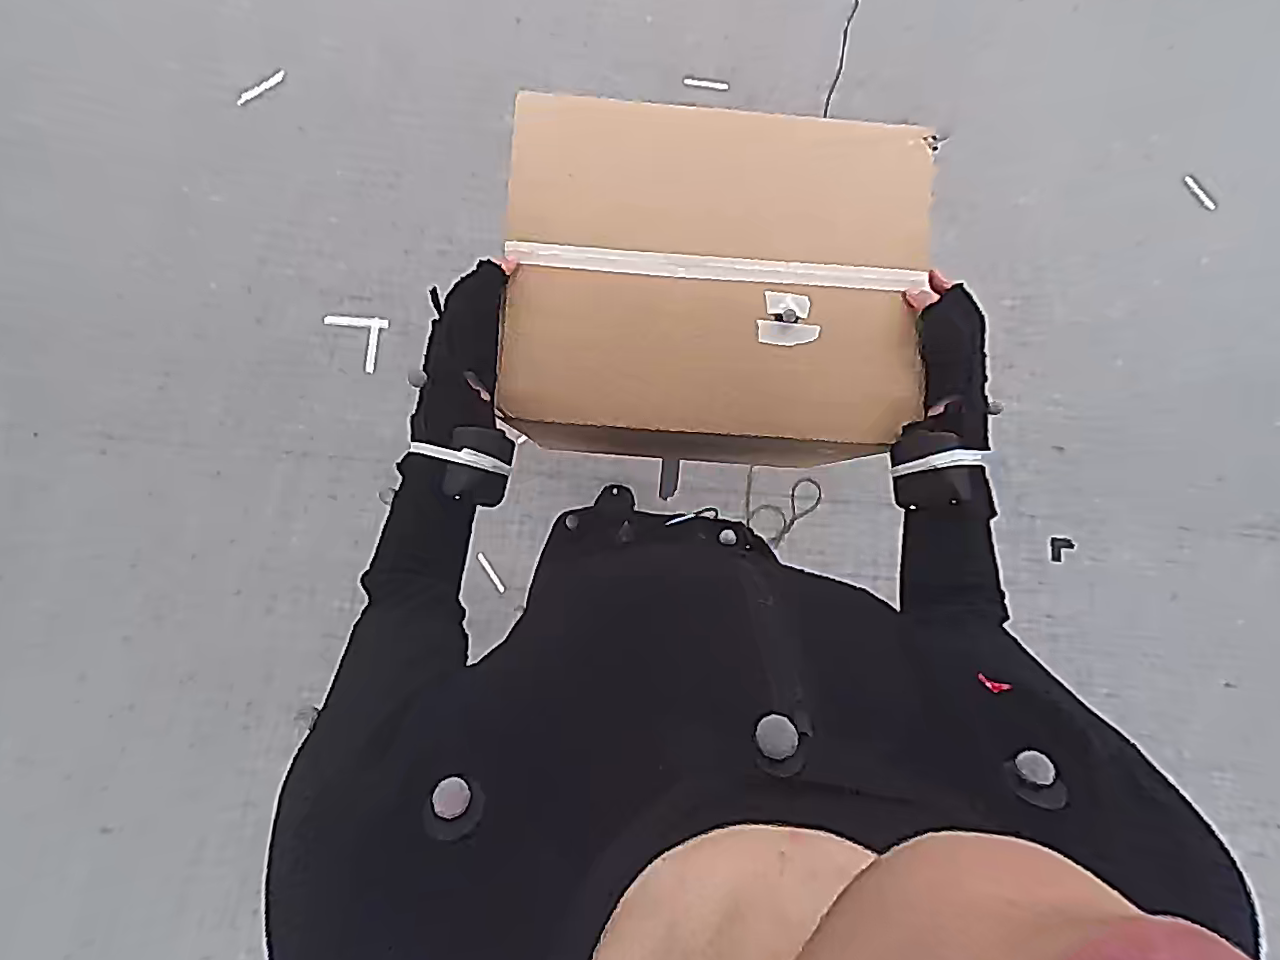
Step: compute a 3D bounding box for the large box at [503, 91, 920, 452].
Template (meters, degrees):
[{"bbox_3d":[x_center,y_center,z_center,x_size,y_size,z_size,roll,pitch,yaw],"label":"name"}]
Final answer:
[{"bbox_3d":[0.065,-0.210,0.675,0.408,0.320,0.320,4,89,-3],"label":"large box"}]
